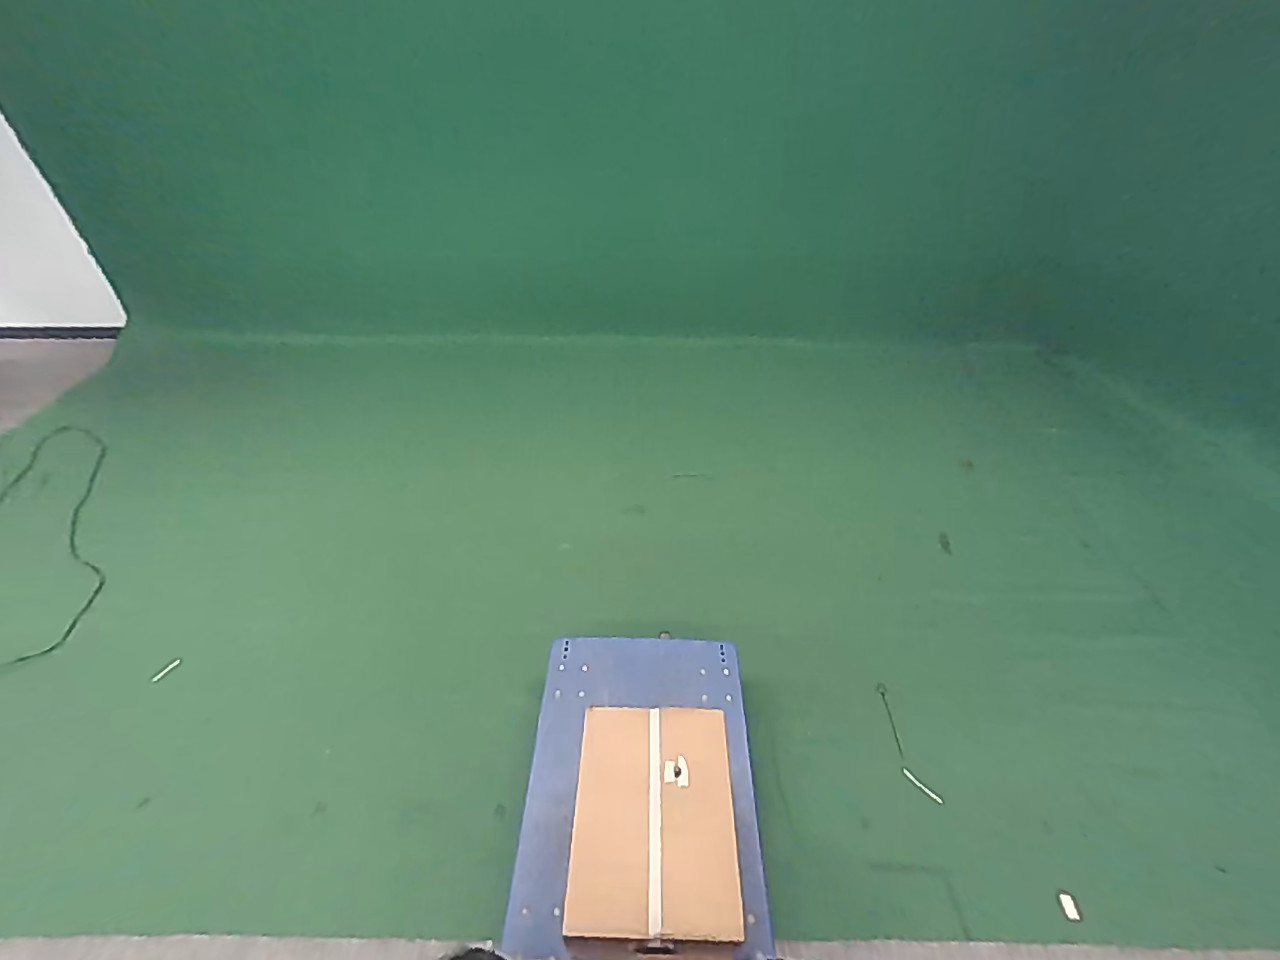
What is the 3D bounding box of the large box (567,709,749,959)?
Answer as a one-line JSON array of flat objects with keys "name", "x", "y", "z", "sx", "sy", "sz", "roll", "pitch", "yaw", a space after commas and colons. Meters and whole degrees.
[{"name": "large box", "x": 0.032, "y": 0.754, "z": 1.144, "sx": 0.320, "sy": 0.320, "sz": 0.408, "roll": 2, "pitch": 40, "yaw": 1}]
